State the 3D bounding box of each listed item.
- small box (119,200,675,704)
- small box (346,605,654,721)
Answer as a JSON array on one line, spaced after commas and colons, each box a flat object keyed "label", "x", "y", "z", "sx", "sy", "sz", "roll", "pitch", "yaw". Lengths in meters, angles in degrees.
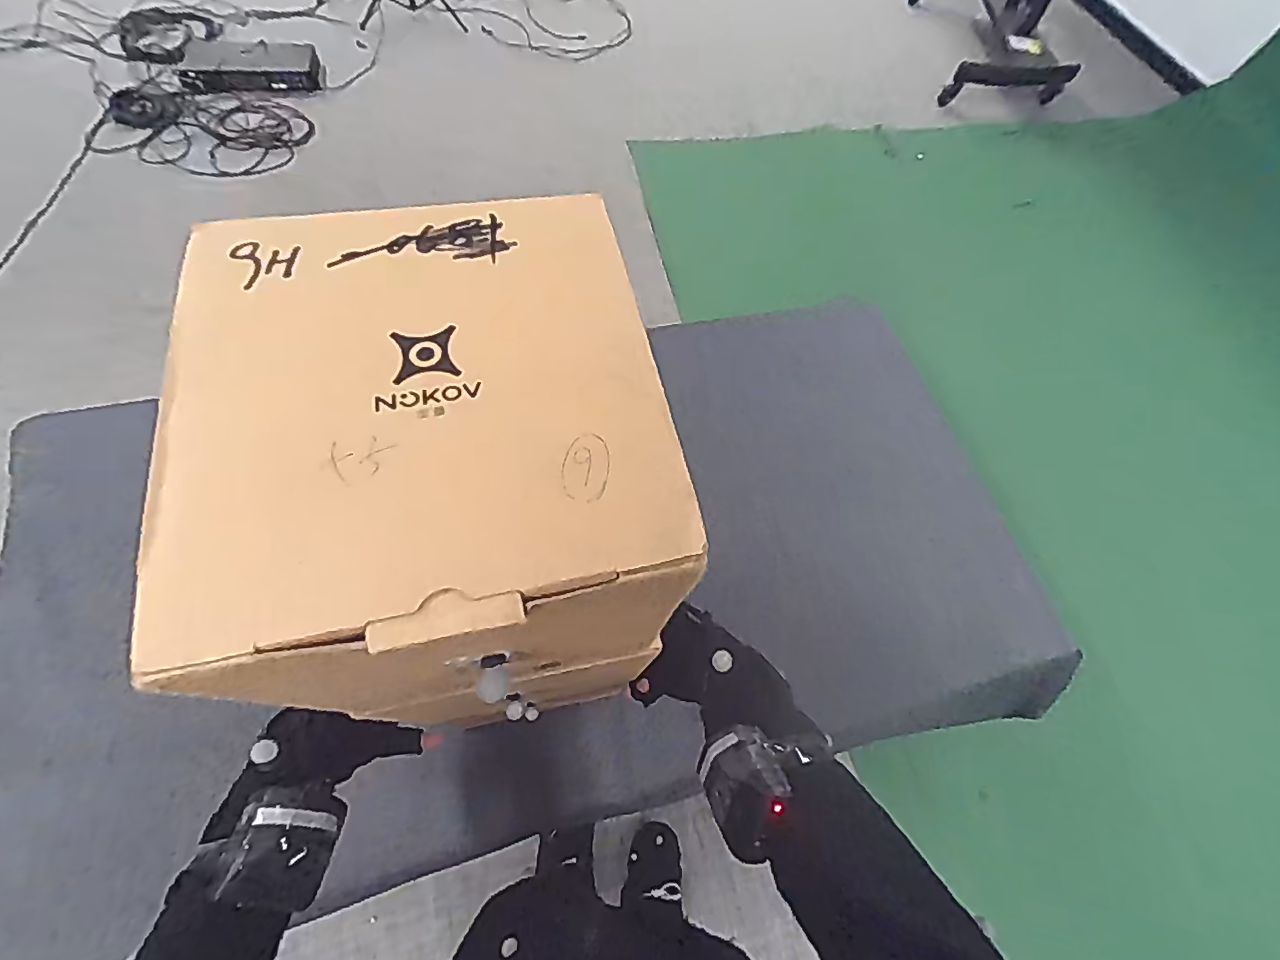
[{"label": "small box", "x": -0.090, "y": 0.001, "z": 0.266, "sx": 0.168, "sy": 0.176, "sz": 0.179, "roll": -11, "pitch": 67, "yaw": -10}, {"label": "small box", "x": -0.099, "y": 0.076, "z": 0.410, "sx": 0.179, "sy": 0.176, "sz": 0.168, "roll": -10, "pitch": 66, "yaw": -9}]
